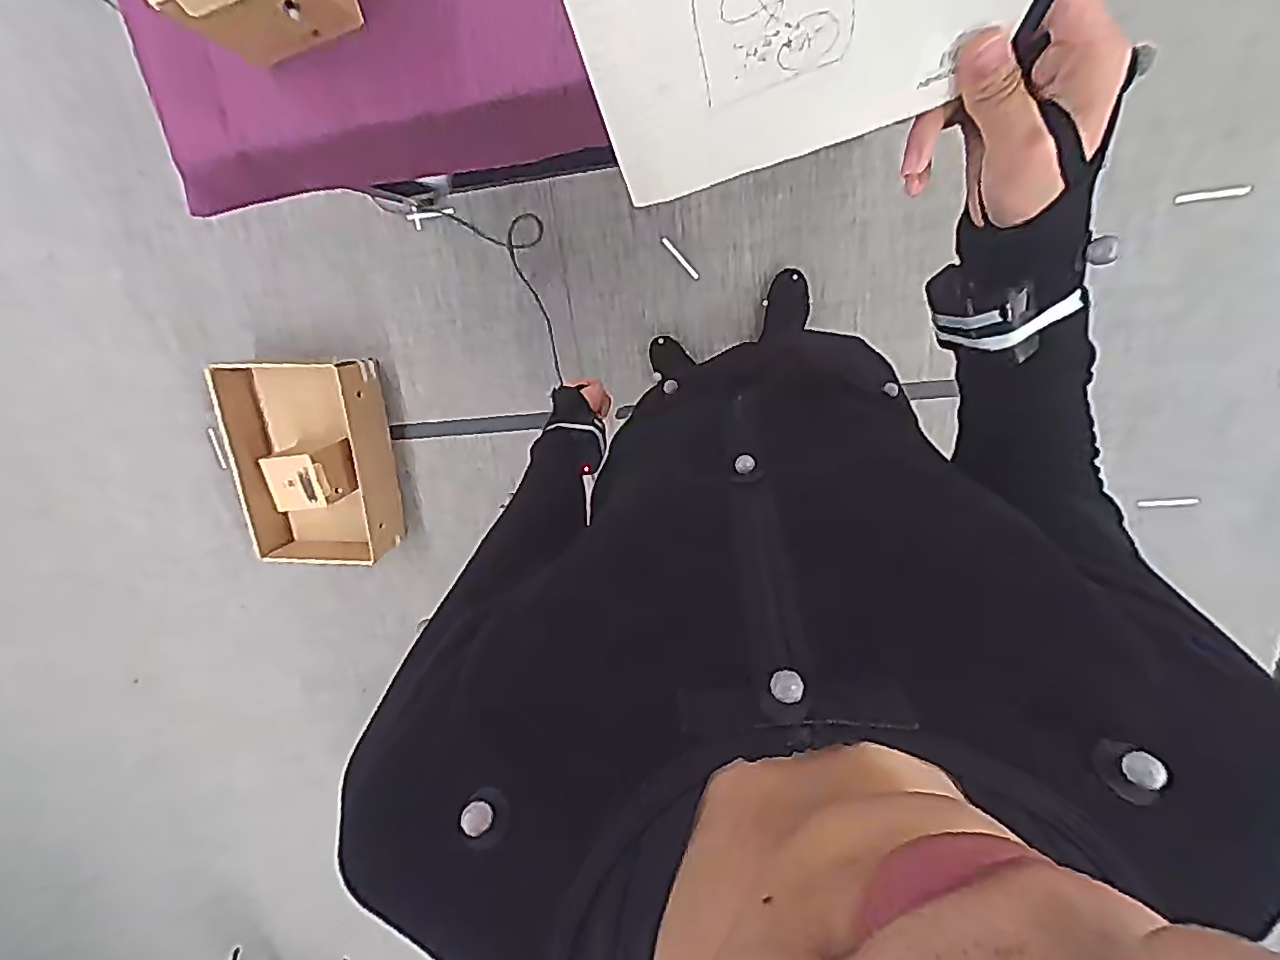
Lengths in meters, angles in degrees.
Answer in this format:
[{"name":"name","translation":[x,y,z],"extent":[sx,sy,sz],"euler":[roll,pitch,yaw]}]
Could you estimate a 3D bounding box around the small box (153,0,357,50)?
[{"name":"small box","translation":[-0.476,-0.650,0.637],"extent":[0.168,0.176,0.179],"euler":[-12,108,10]}]
